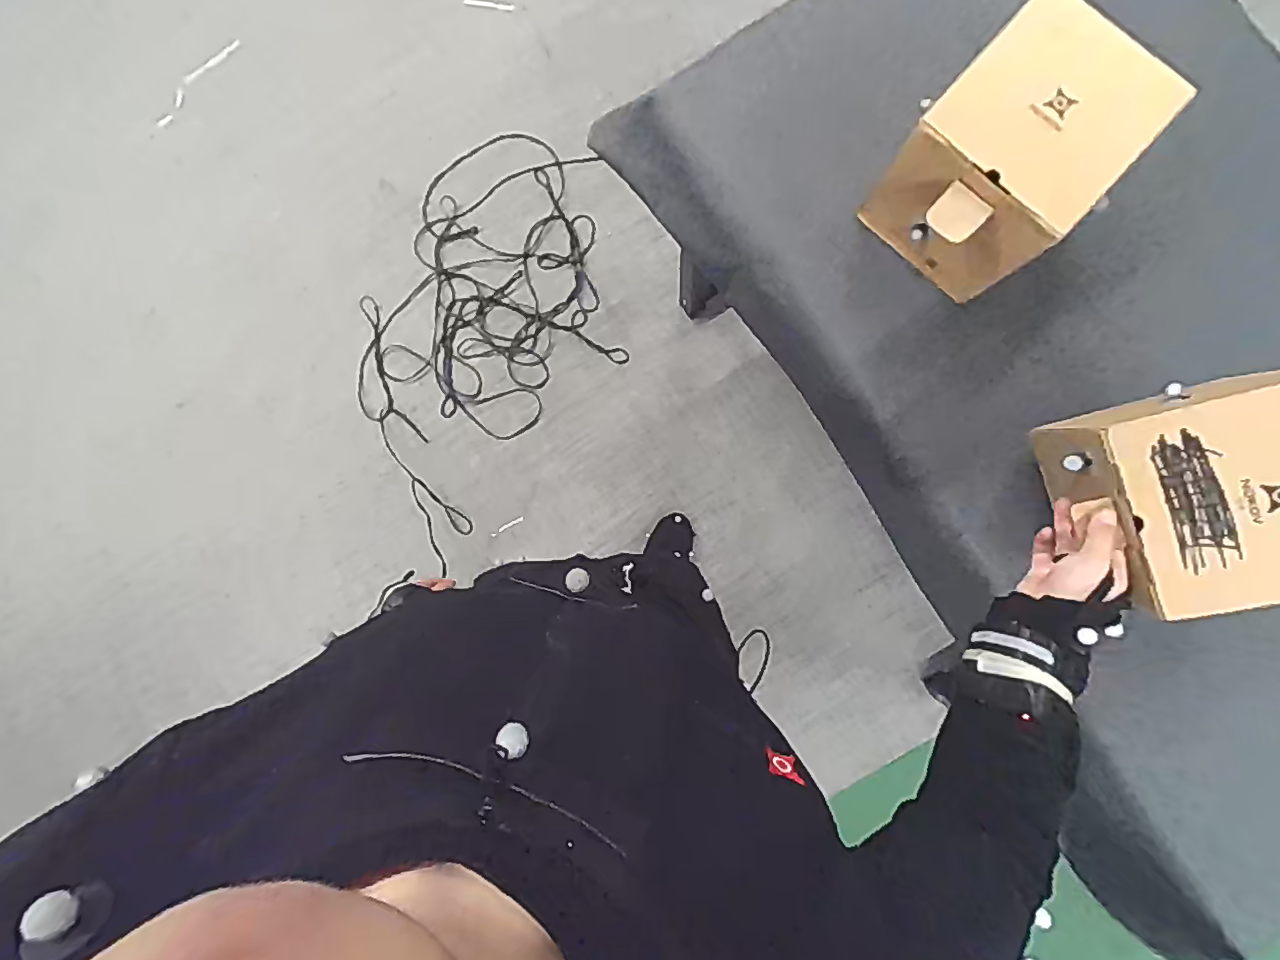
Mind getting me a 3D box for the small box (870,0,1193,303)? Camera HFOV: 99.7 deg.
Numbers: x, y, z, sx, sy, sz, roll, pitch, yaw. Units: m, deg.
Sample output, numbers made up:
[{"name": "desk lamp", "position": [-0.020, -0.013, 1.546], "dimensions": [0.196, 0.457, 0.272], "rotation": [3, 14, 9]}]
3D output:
[{"name": "small box", "position": [0.378, -0.323, 0.562], "dimensions": [0.168, 0.176, 0.179], "rotation": [42, 91, 3]}]
